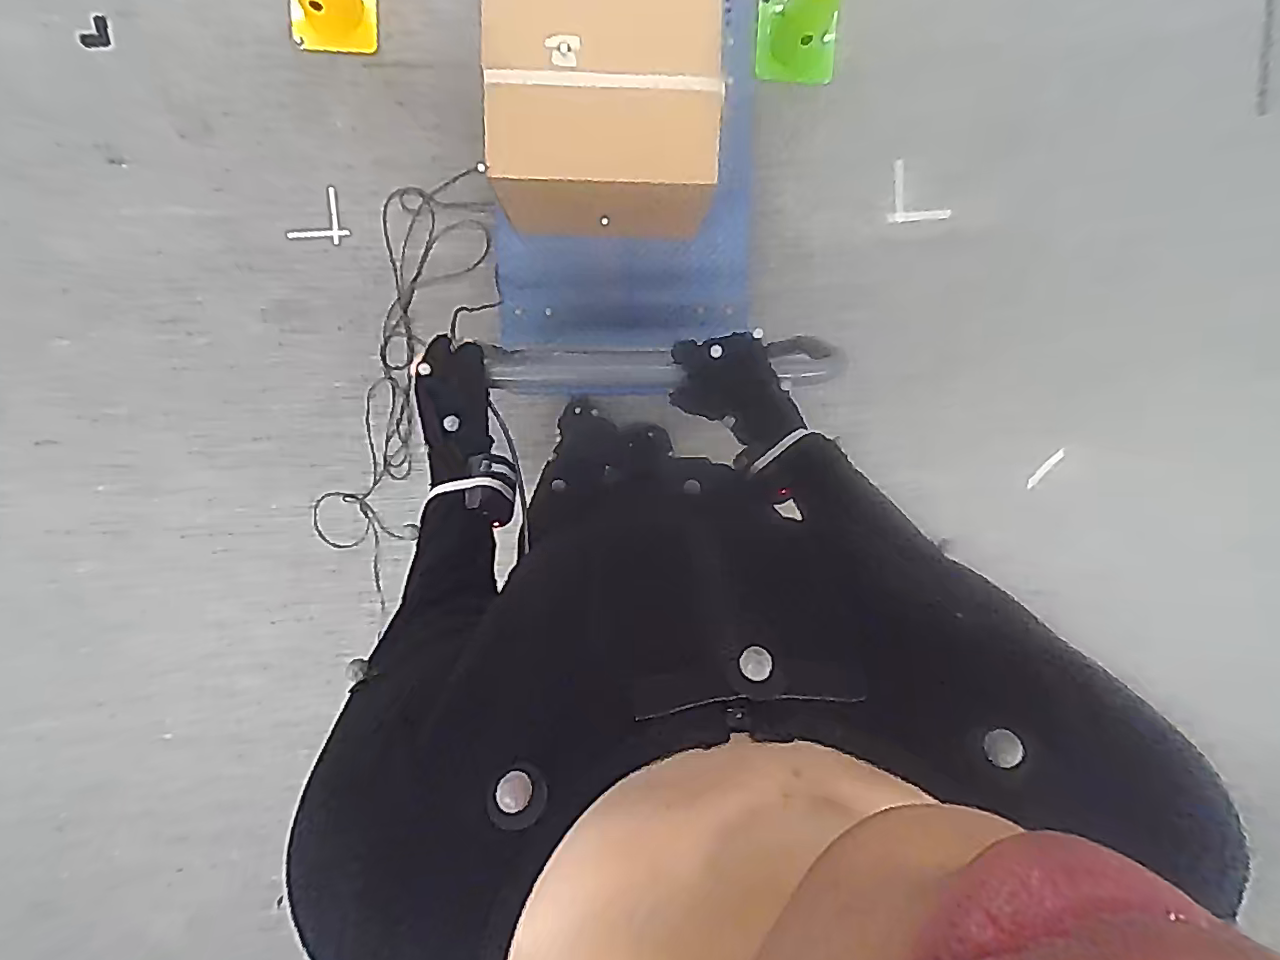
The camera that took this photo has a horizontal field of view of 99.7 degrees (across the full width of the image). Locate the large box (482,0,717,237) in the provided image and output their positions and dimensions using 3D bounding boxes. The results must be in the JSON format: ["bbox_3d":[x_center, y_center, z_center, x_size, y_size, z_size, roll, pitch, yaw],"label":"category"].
[{"bbox_3d":[-0.070,-0.688,1.074,0.408,0.320,0.320,0,97,-2],"label":"large box"}]

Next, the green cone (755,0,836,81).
[{"bbox_3d":[0.402,-1.100,1.194,0.202,0.368,0.200,1,96,-4],"label":"green cone"}]
